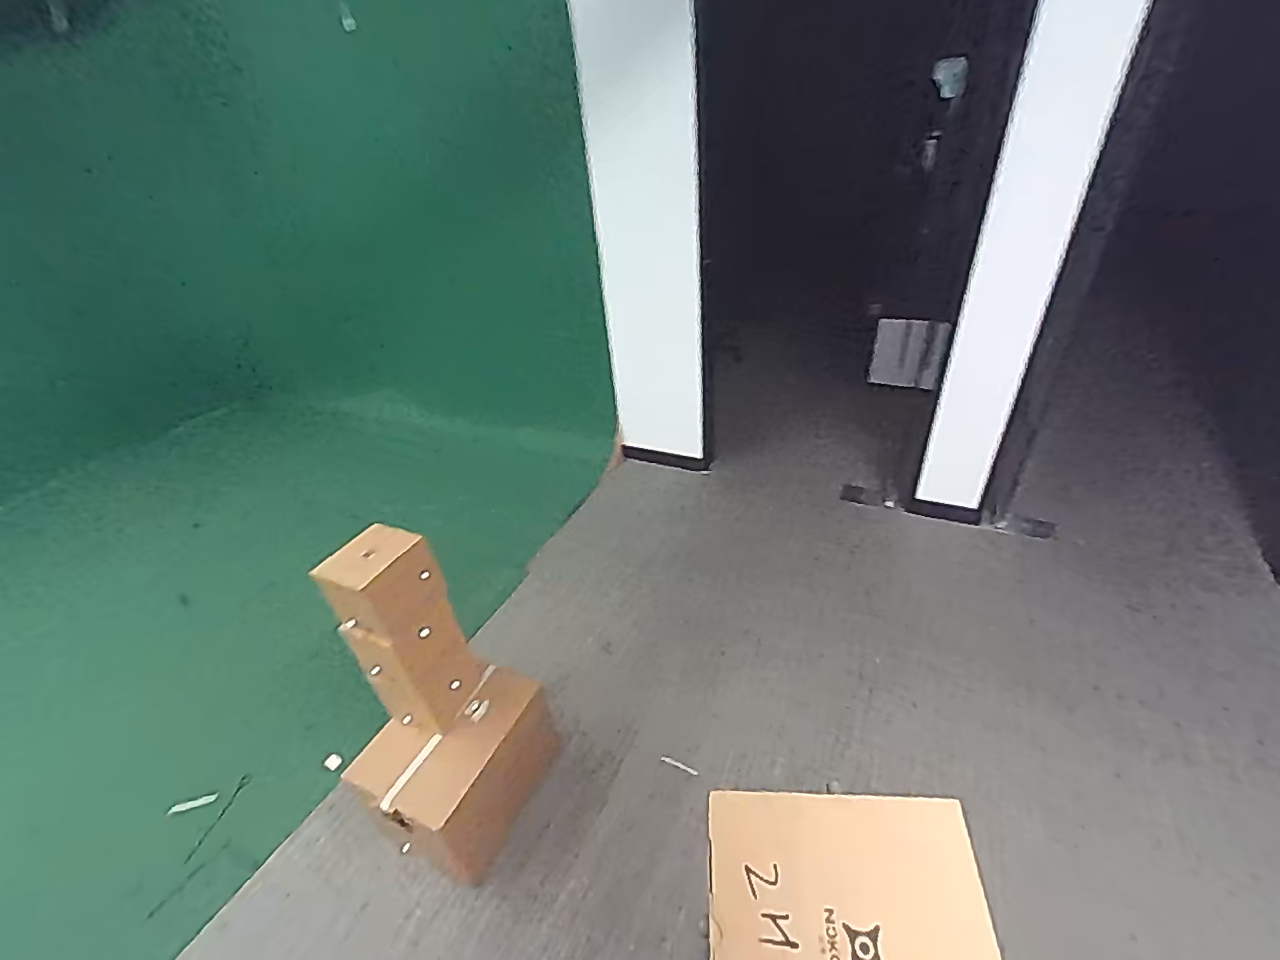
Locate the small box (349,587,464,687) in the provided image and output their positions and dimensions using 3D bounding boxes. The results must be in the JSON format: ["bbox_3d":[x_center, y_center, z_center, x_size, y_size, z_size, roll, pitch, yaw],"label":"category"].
[{"bbox_3d":[-0.549,0.359,1.304,0.168,0.176,0.179,8,38,25],"label":"small box"}]

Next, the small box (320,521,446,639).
[{"bbox_3d":[-0.563,0.221,1.217,0.168,0.176,0.179,9,38,27],"label":"small box"}]

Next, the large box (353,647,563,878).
[{"bbox_3d":[-0.459,0.739,1.457,0.320,0.320,0.408,11,37,24],"label":"large box"}]

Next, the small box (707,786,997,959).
[{"bbox_3d":[0.143,0.336,0.404,0.179,0.176,0.168,-4,52,9],"label":"small box"}]
